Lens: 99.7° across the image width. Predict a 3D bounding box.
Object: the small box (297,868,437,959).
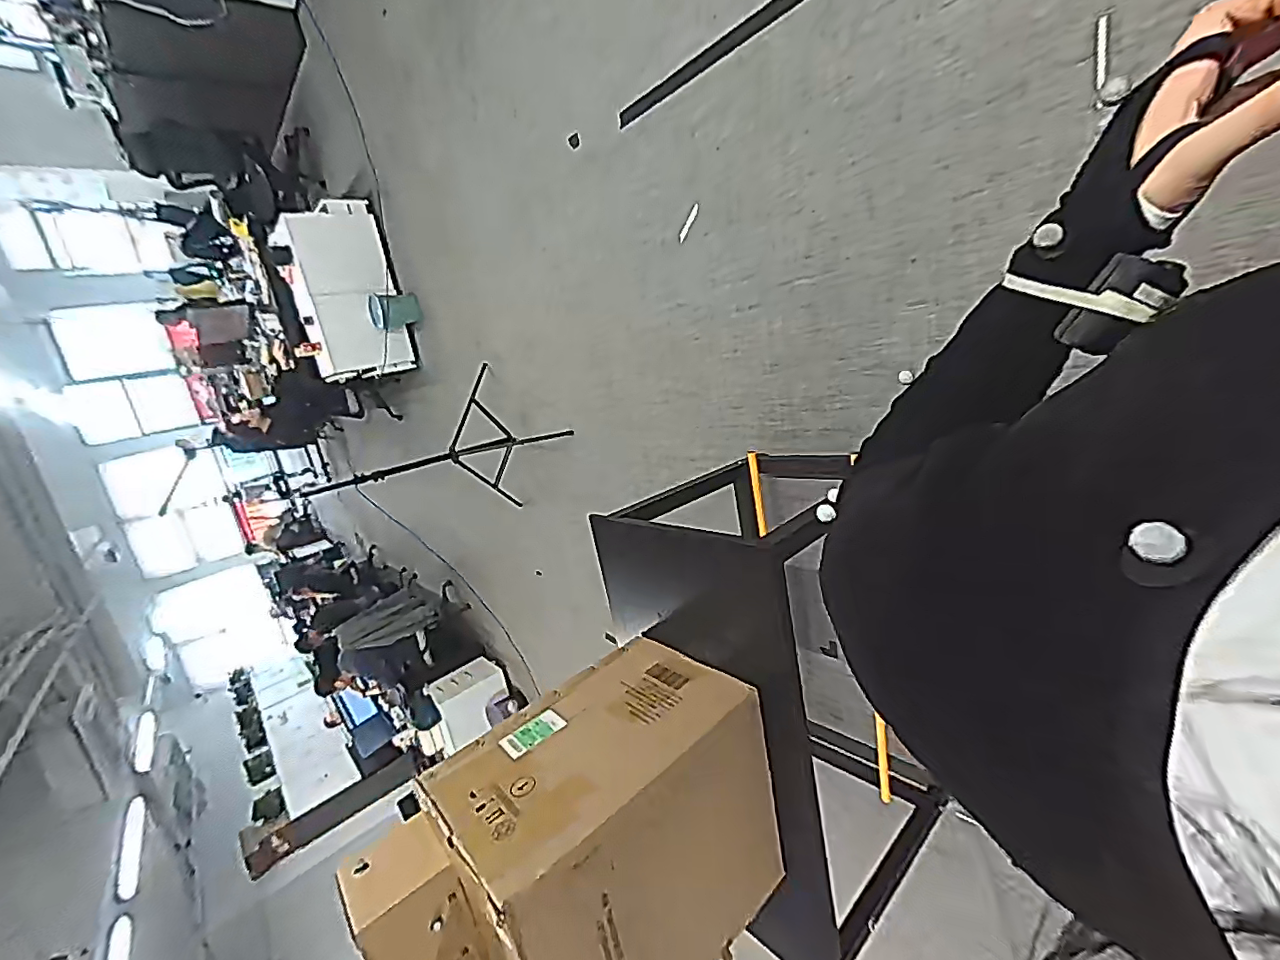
[{"bbox_3d":[-0.458,0.819,0.926,0.179,0.176,0.168,5,112,52],"label":"small box"}]
